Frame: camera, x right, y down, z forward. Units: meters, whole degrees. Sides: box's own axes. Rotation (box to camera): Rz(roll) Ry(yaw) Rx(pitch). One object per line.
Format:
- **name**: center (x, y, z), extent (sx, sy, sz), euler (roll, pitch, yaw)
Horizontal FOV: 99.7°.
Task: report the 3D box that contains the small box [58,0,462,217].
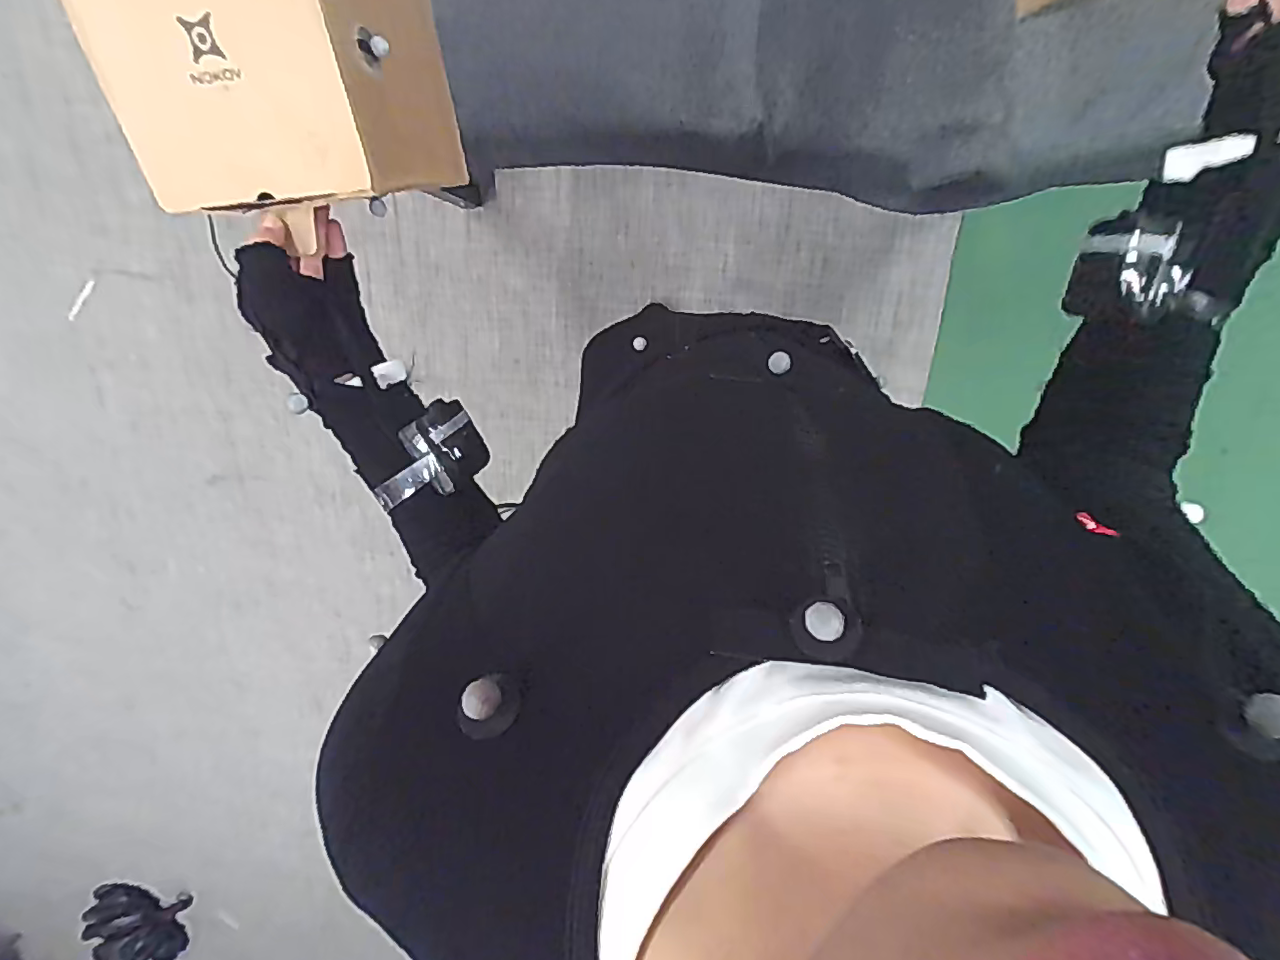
- **small box**: center (-0.251, -0.301, 0.391), extent (0.168, 0.176, 0.179), euler (-2, 120, 8)
